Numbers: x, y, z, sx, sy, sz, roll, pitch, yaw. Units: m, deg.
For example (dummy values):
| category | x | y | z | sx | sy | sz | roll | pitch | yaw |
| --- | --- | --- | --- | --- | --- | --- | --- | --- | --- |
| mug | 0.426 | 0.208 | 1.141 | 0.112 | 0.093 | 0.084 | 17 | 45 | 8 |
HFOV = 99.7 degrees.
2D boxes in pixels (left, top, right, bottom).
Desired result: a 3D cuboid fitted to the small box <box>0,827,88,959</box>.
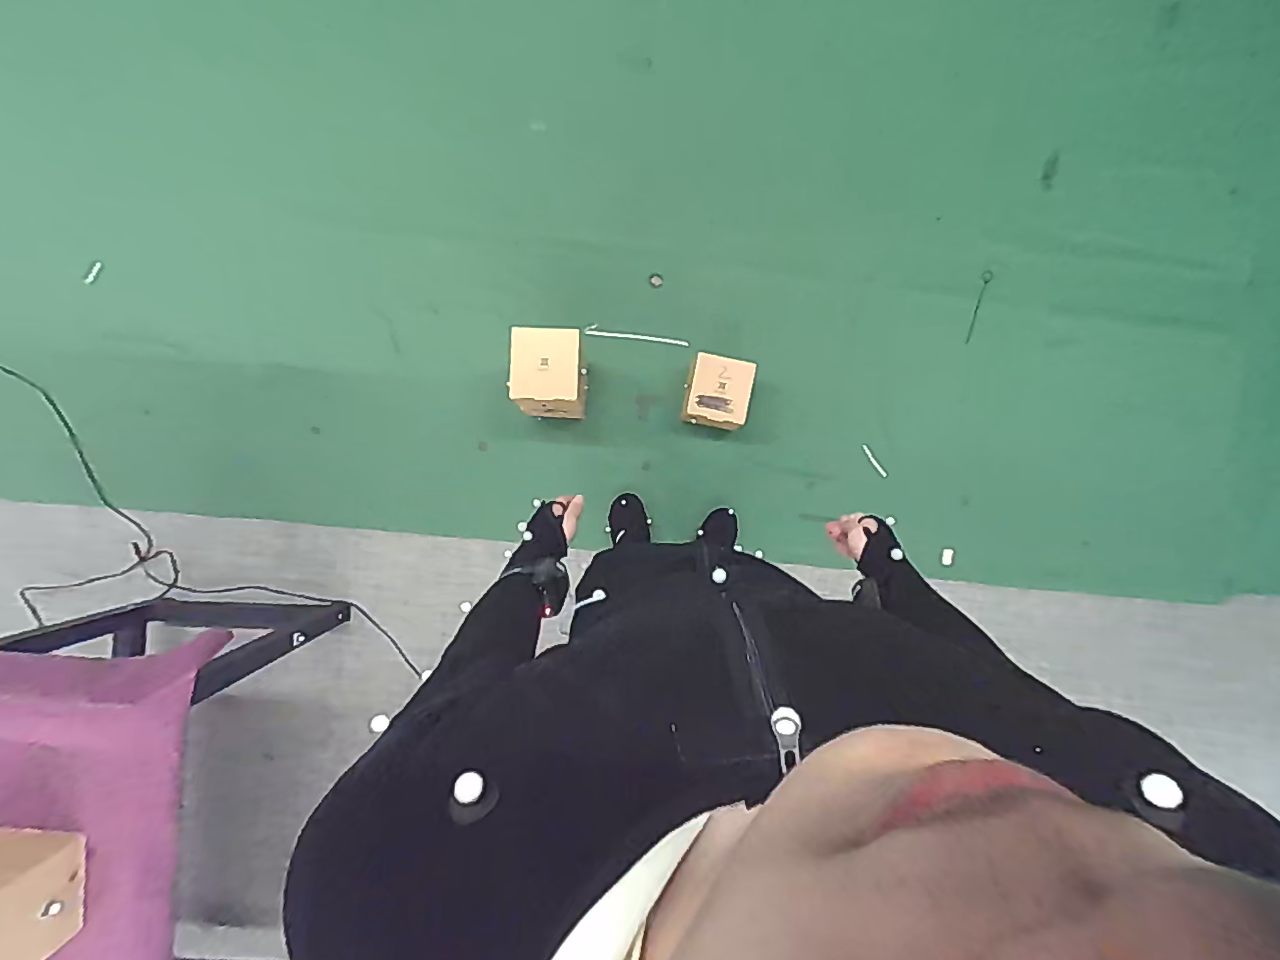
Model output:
| category | x | y | z | sx | sy | sz | roll | pitch | yaw |
| --- | --- | --- | --- | --- | --- | --- | --- | --- | --- |
| small box | -0.998 | 0.652 | 0.806 | 0.179 | 0.176 | 0.168 | 4 | 91 | 0 |

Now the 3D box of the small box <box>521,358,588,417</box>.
| category | x | y | z | sx | sy | sz | roll | pitch | yaw |
| --- | --- | --- | --- | --- | --- | --- | --- | --- | --- |
| small box | -0.238 | -0.278 | 1.543 | 0.168 | 0.176 | 0.179 | 3 | 90 | -2 |

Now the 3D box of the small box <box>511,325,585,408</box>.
| category | x | y | z | sx | sy | sz | roll | pitch | yaw |
| --- | --- | --- | --- | --- | --- | --- | --- | --- | --- |
| small box | -0.230 | -0.284 | 1.381 | 0.168 | 0.176 | 0.179 | 2 | 91 | -2 |
